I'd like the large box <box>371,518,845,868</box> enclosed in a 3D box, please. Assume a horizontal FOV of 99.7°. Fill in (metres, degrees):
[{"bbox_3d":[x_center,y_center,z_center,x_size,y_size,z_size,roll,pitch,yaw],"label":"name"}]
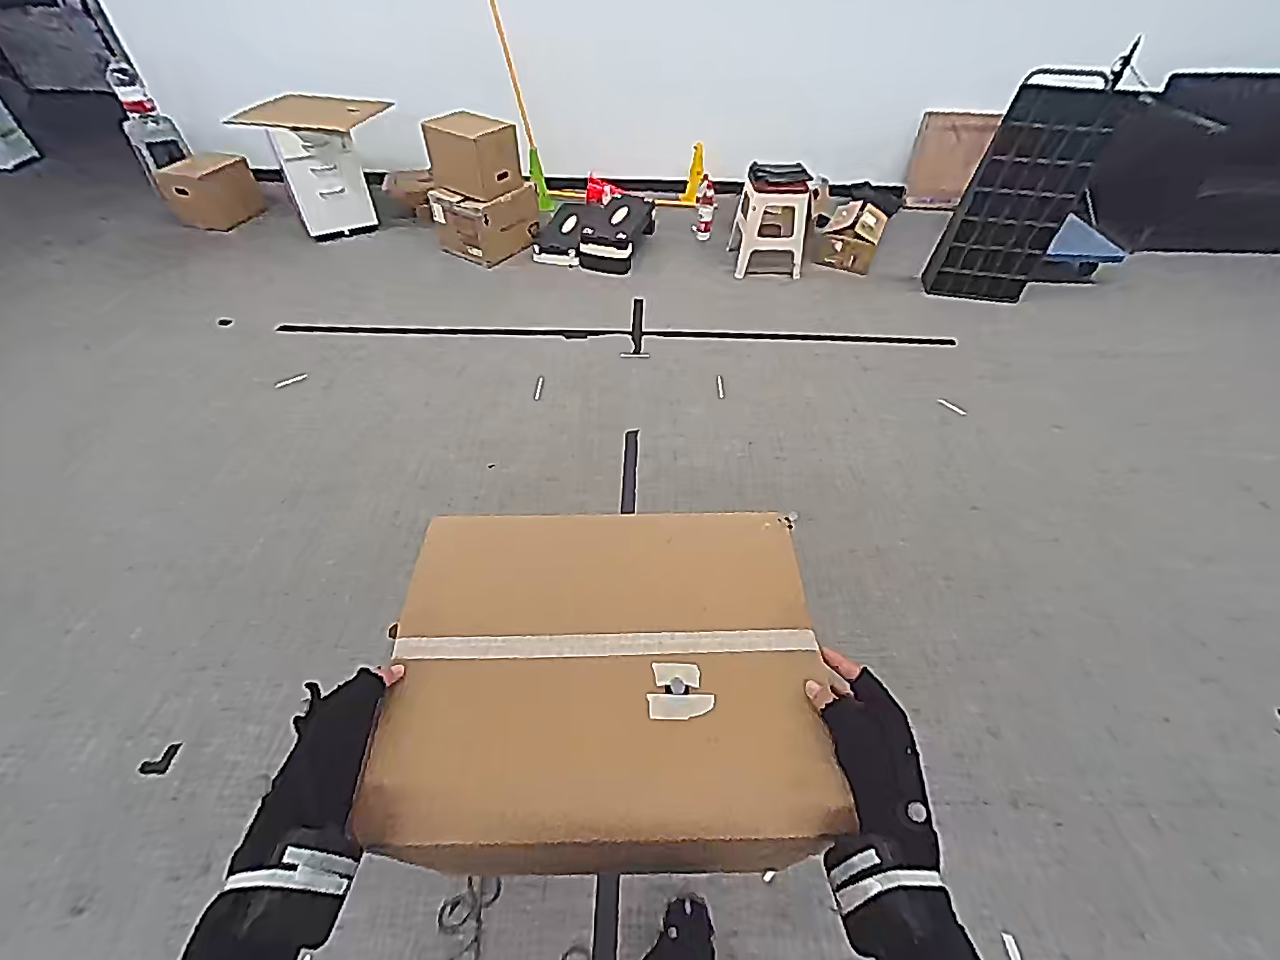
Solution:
[{"bbox_3d":[-0.030,0.261,0.654,0.408,0.320,0.320,0,51,-1],"label":"large box"}]
